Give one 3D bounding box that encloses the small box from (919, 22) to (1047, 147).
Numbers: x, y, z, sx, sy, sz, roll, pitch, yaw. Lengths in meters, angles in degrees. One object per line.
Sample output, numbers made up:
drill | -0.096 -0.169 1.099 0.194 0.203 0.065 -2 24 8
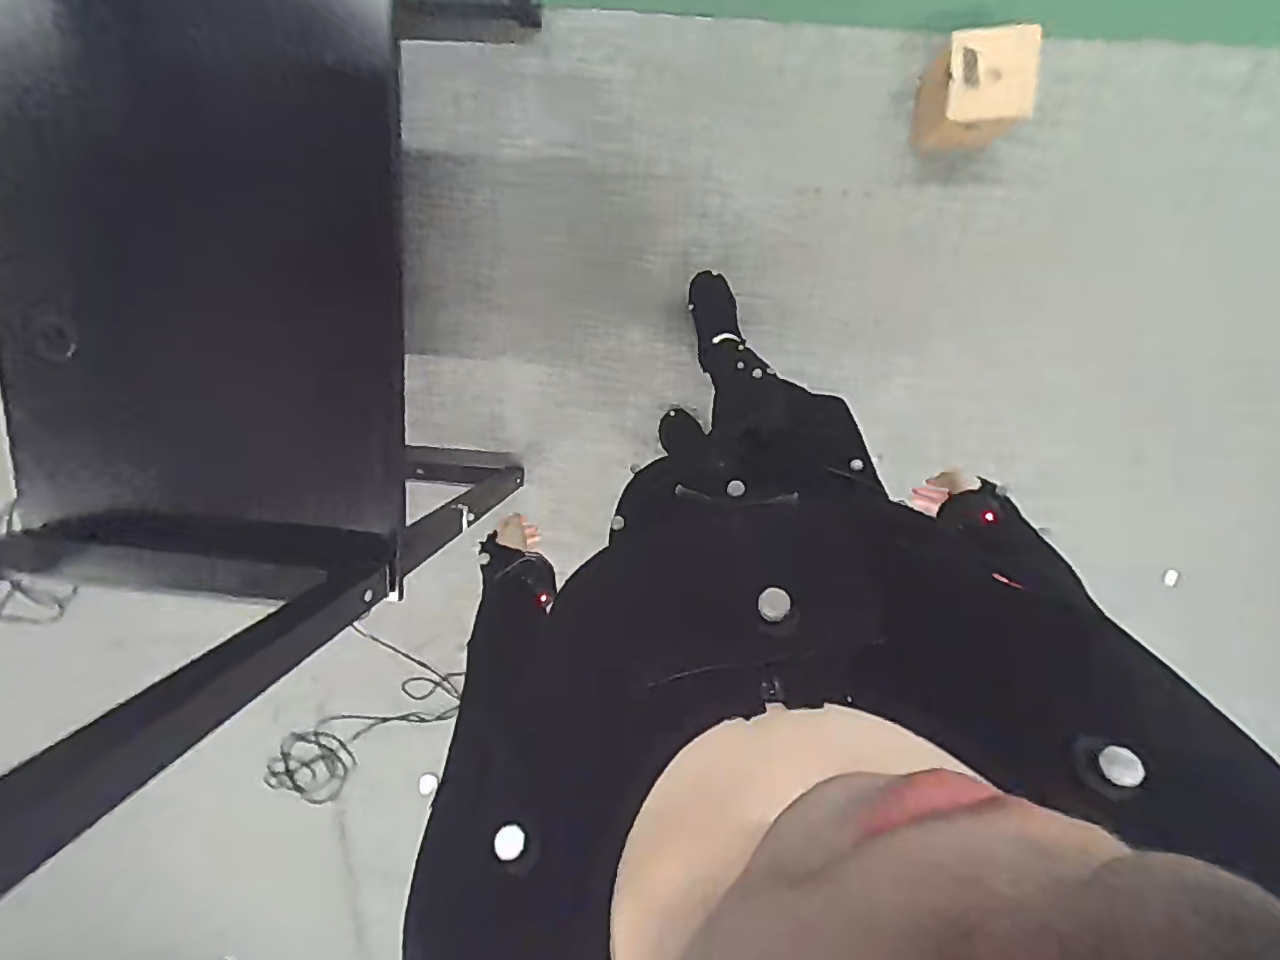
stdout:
small box | 0.729 -0.843 1.171 0.179 0.176 0.168 -2 102 4
